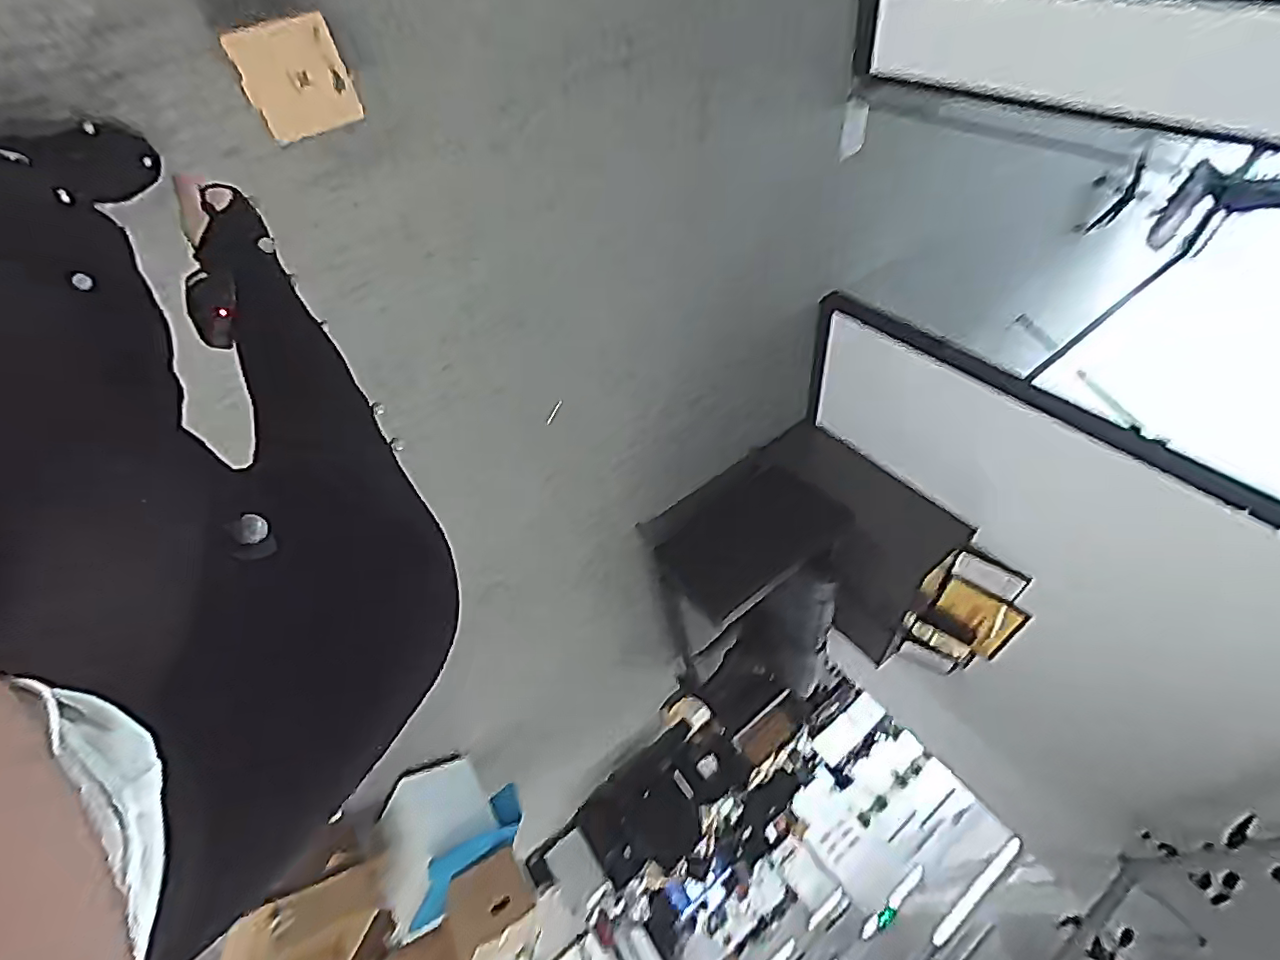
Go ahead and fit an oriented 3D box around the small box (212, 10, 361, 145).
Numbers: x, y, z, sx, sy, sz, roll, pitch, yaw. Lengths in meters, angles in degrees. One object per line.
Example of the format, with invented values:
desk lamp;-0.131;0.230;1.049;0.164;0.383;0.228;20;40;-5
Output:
small box;-0.680;-0.775;1.038;0.179;0.176;0.168;-32;143;-18
